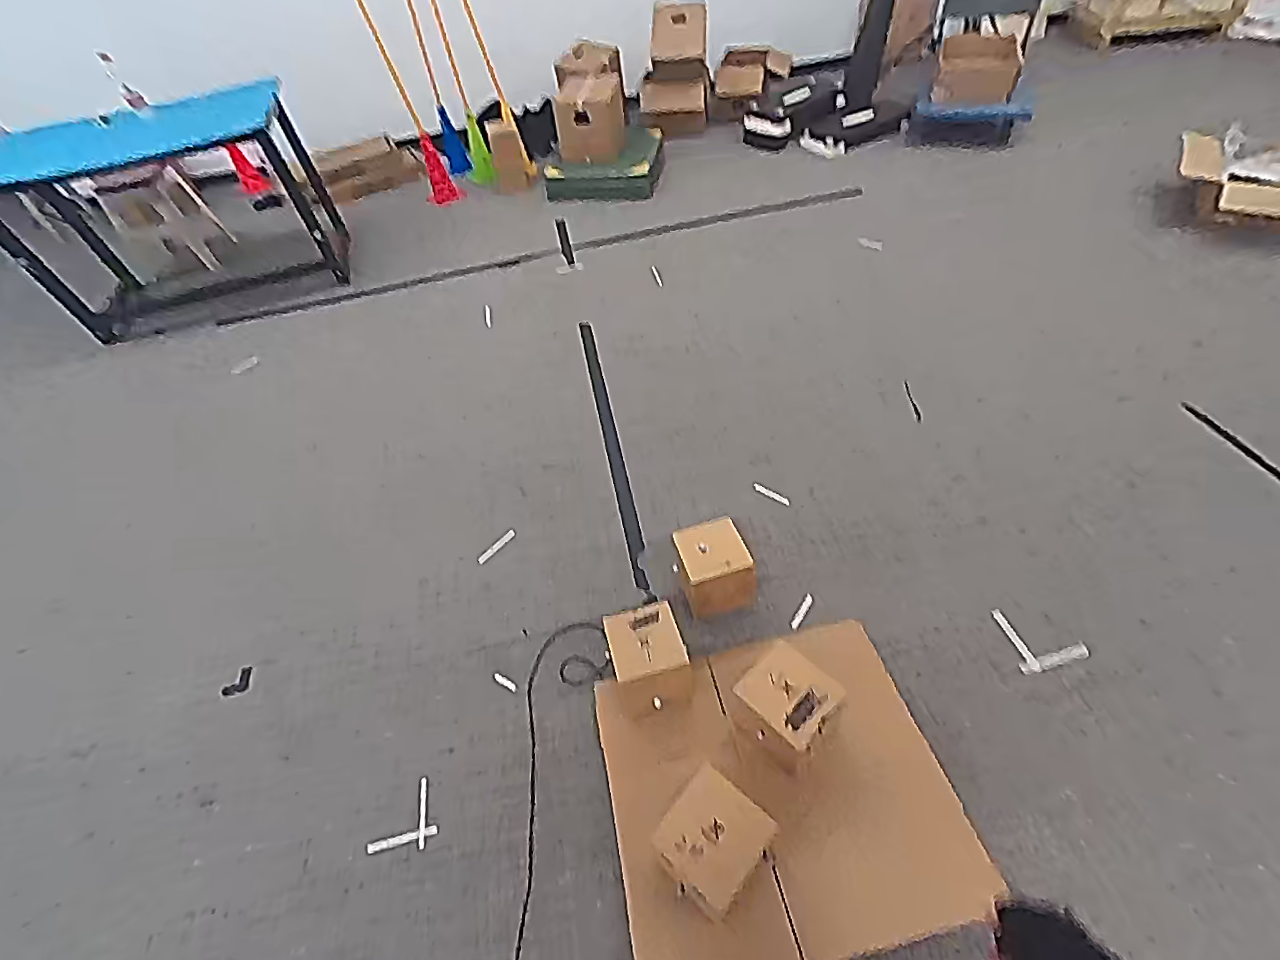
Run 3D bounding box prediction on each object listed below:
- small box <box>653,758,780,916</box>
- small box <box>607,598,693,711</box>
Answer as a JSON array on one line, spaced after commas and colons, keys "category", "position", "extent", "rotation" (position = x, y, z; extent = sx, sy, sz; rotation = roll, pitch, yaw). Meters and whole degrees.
[{"category": "small box", "position": [0.144, 0.681, 1.033], "extent": [0.168, 0.176, 0.179], "rotation": [31, 57, 32]}, {"category": "small box", "position": [0.024, 0.420, 1.299], "extent": [0.168, 0.176, 0.179], "rotation": [-14, 42, -7]}]
